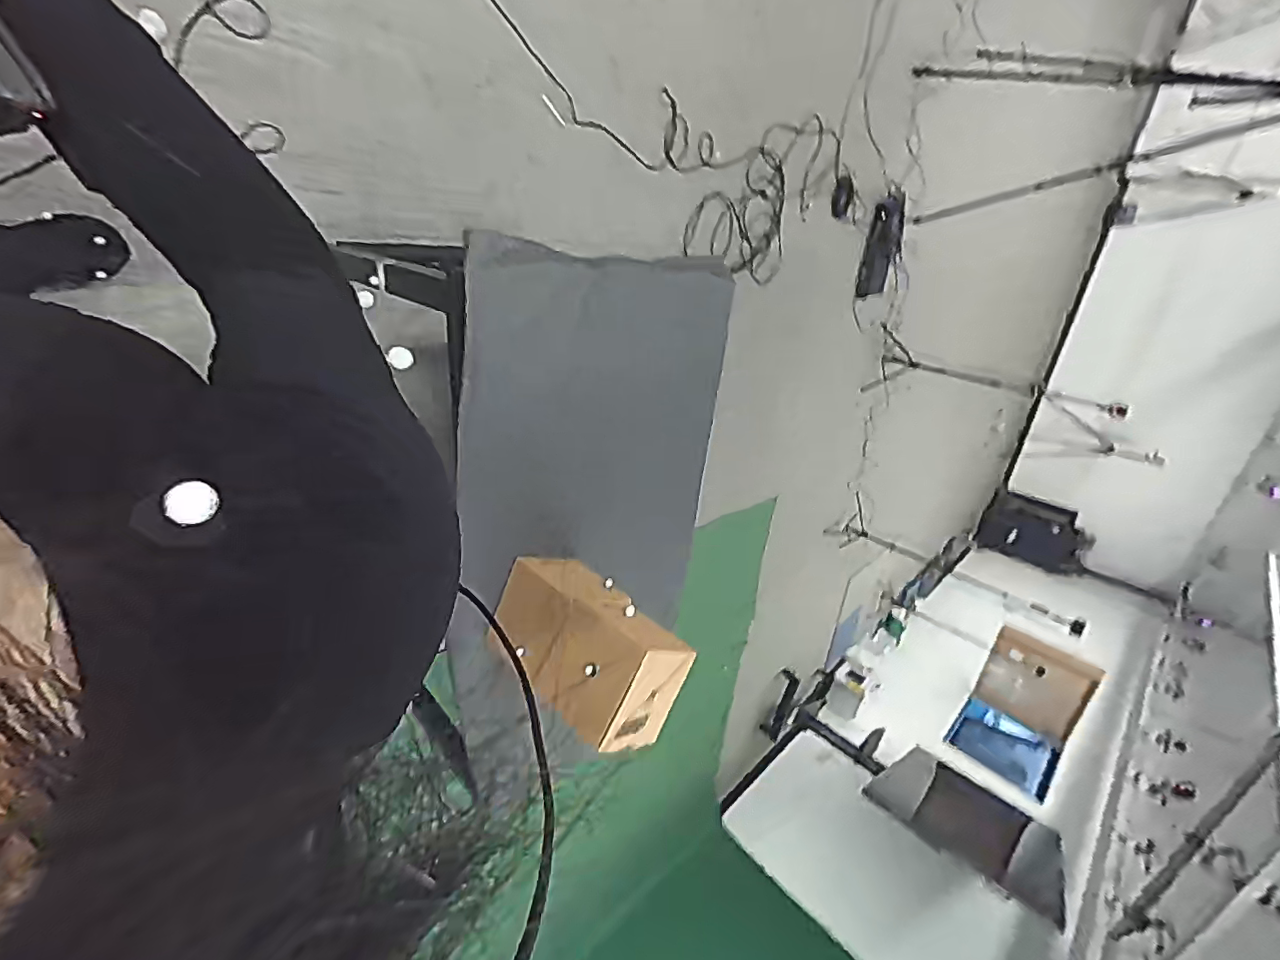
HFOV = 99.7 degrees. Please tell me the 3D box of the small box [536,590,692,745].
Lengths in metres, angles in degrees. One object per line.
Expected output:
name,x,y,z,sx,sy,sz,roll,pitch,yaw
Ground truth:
small box,-0.049,0.311,0.914,0.168,0.176,0.179,27,89,-52
